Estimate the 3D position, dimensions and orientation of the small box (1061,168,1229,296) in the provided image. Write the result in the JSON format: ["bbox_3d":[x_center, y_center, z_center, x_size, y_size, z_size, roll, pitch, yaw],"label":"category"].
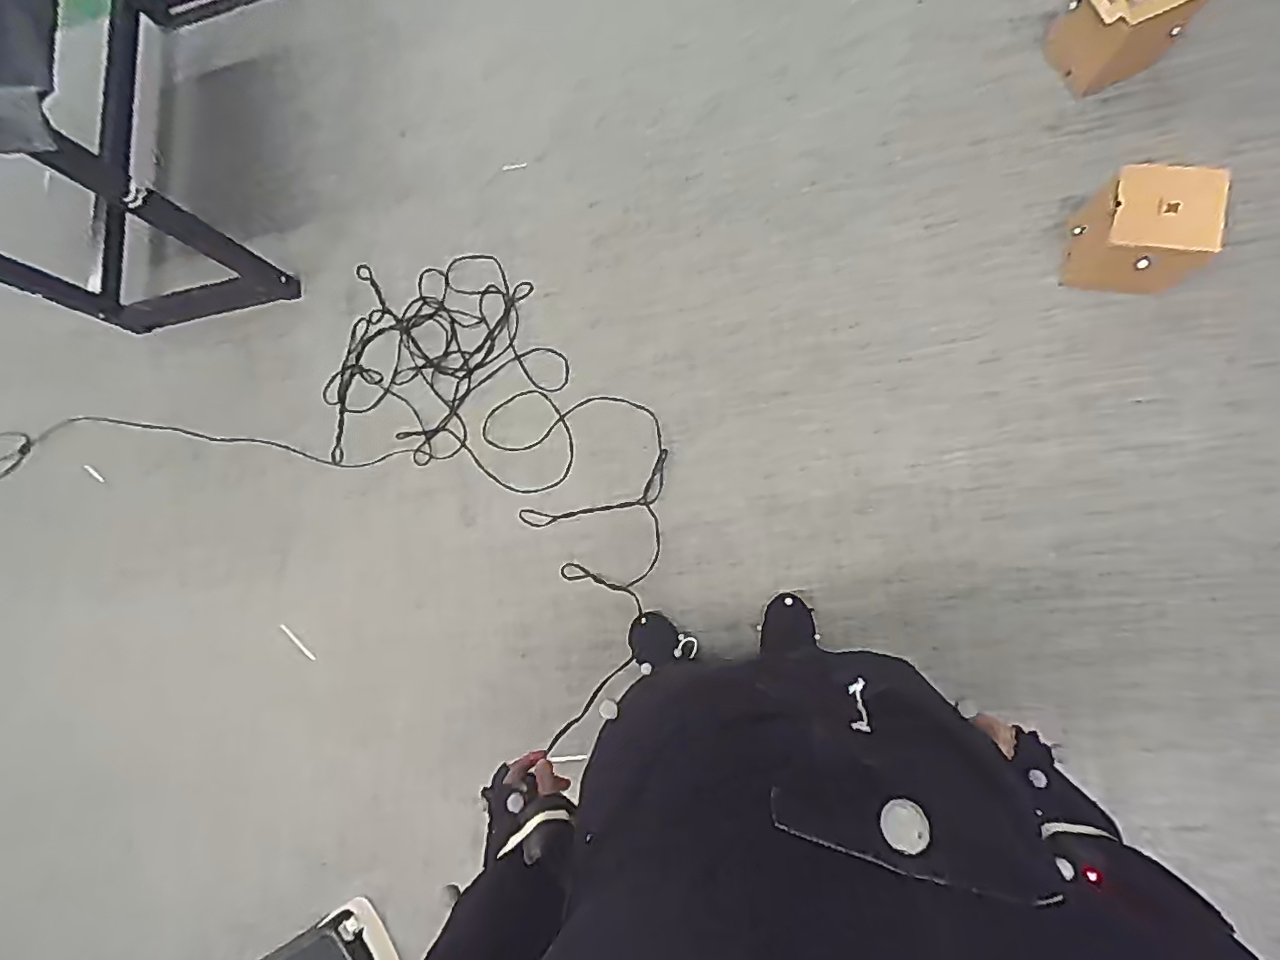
[{"bbox_3d":[0.991,-0.484,1.075,0.179,0.176,0.168,11,84,13],"label":"small box"}]
